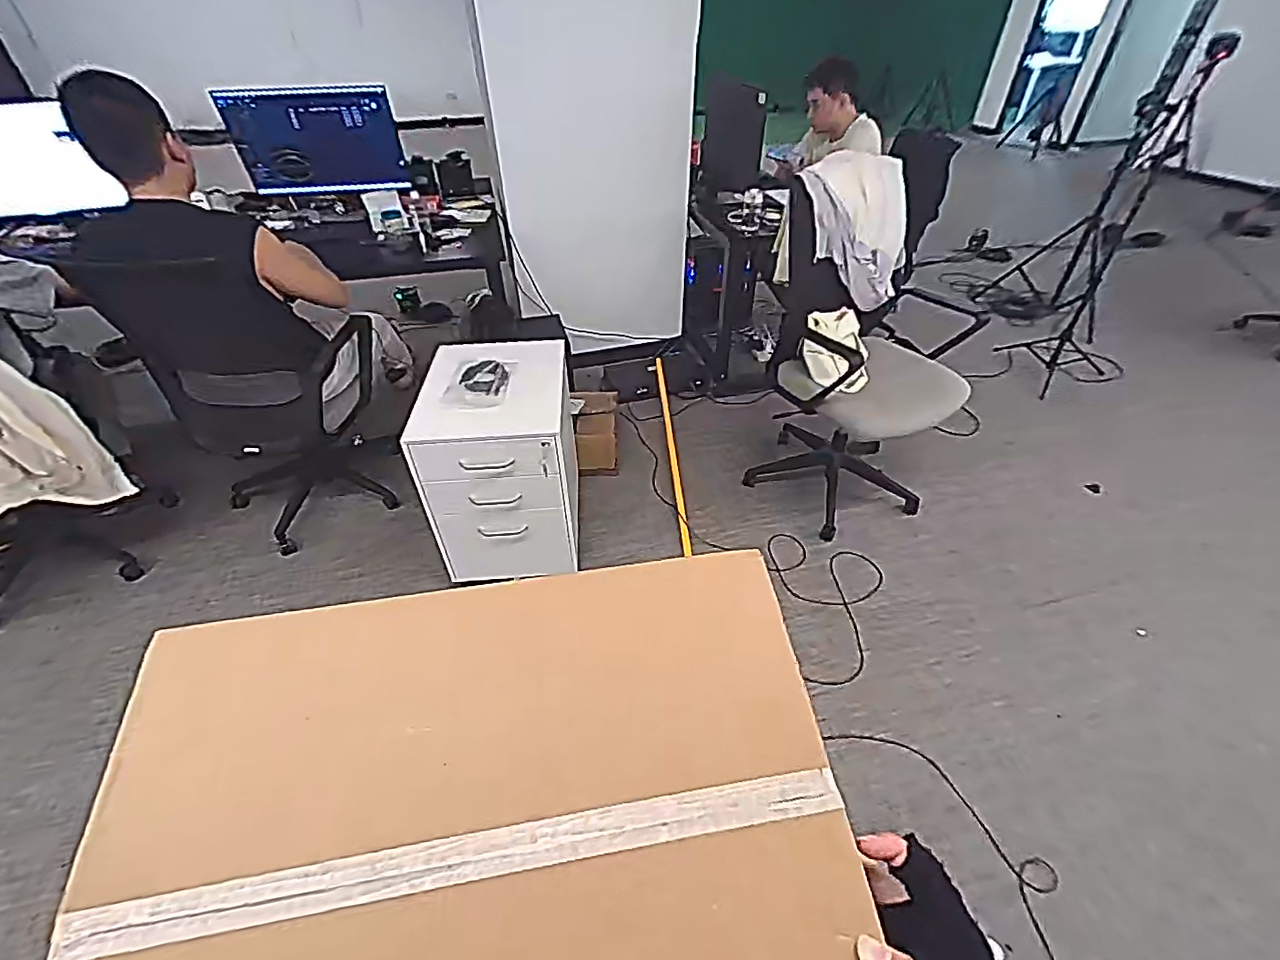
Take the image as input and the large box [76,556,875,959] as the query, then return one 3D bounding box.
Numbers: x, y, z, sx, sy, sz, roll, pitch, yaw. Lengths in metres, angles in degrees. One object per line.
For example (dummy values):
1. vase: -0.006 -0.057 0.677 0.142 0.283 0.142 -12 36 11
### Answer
1. large box: -0.092 0.290 0.421 0.408 0.320 0.320 -7 57 -6
